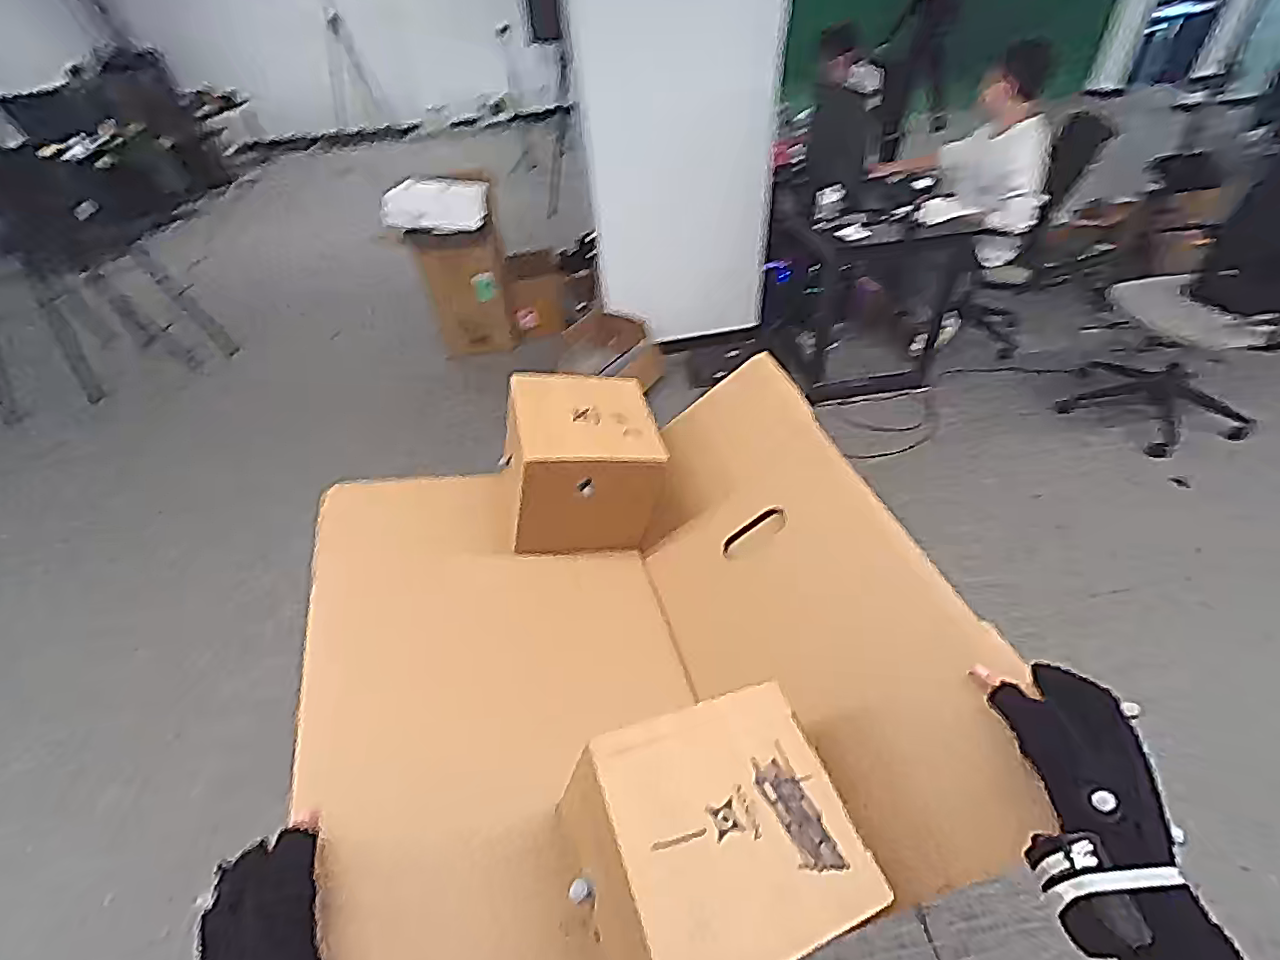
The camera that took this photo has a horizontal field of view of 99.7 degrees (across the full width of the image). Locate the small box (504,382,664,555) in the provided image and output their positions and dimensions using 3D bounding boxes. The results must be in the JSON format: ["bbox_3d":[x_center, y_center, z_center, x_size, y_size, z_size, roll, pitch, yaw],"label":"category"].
[{"bbox_3d":[-0.088,-0.013,0.727,0.179,0.176,0.168,0,45,-20],"label":"small box"}]
